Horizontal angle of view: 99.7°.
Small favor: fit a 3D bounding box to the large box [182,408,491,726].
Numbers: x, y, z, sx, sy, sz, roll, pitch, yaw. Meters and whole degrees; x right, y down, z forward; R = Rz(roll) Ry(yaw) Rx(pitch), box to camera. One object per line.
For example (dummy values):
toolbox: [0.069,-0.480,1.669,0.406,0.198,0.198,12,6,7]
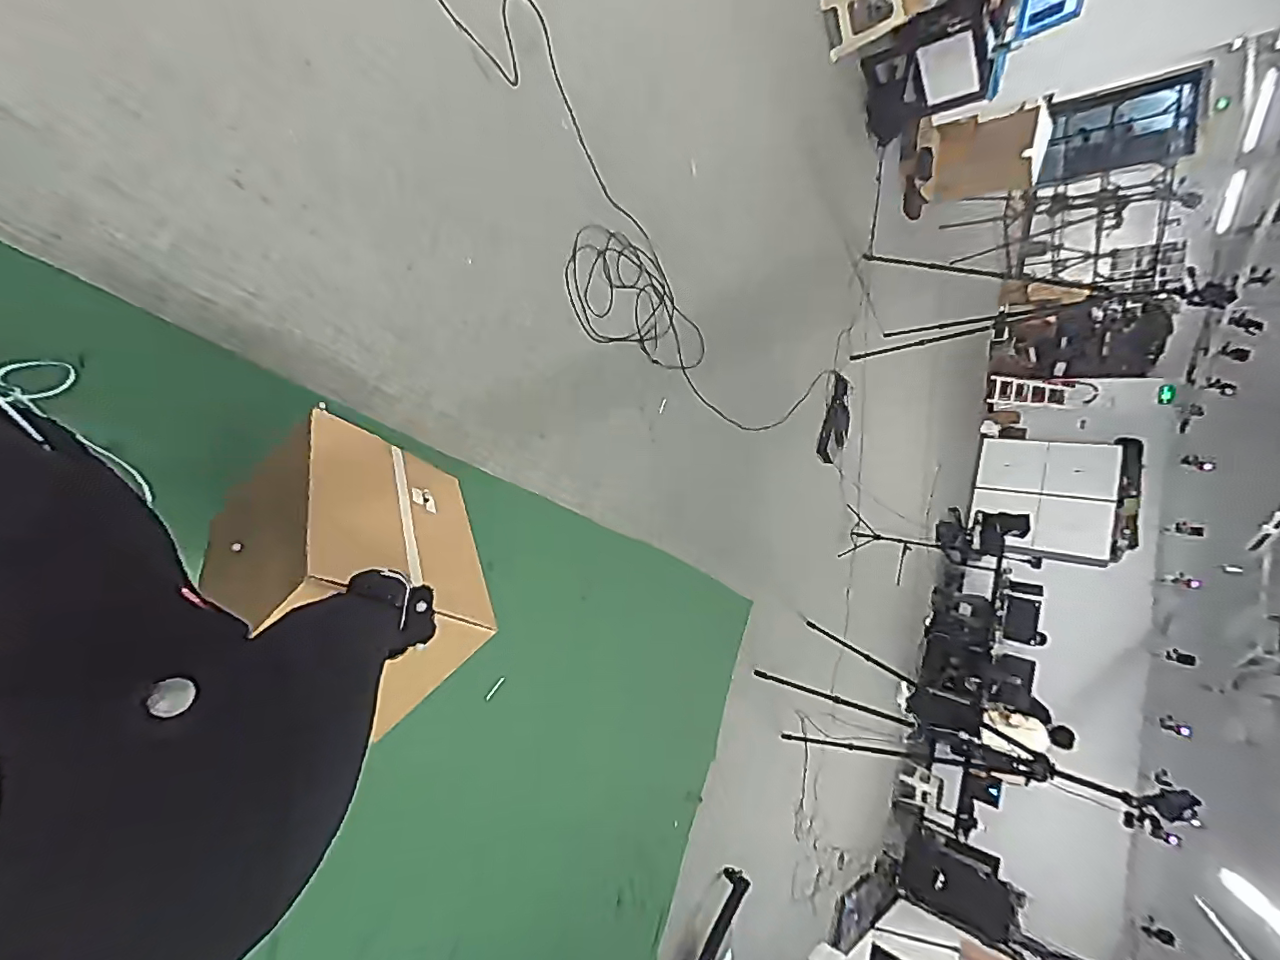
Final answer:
large box: [-0.517,0.155,0.945,0.320,0.408,0.320,-43,136,10]
